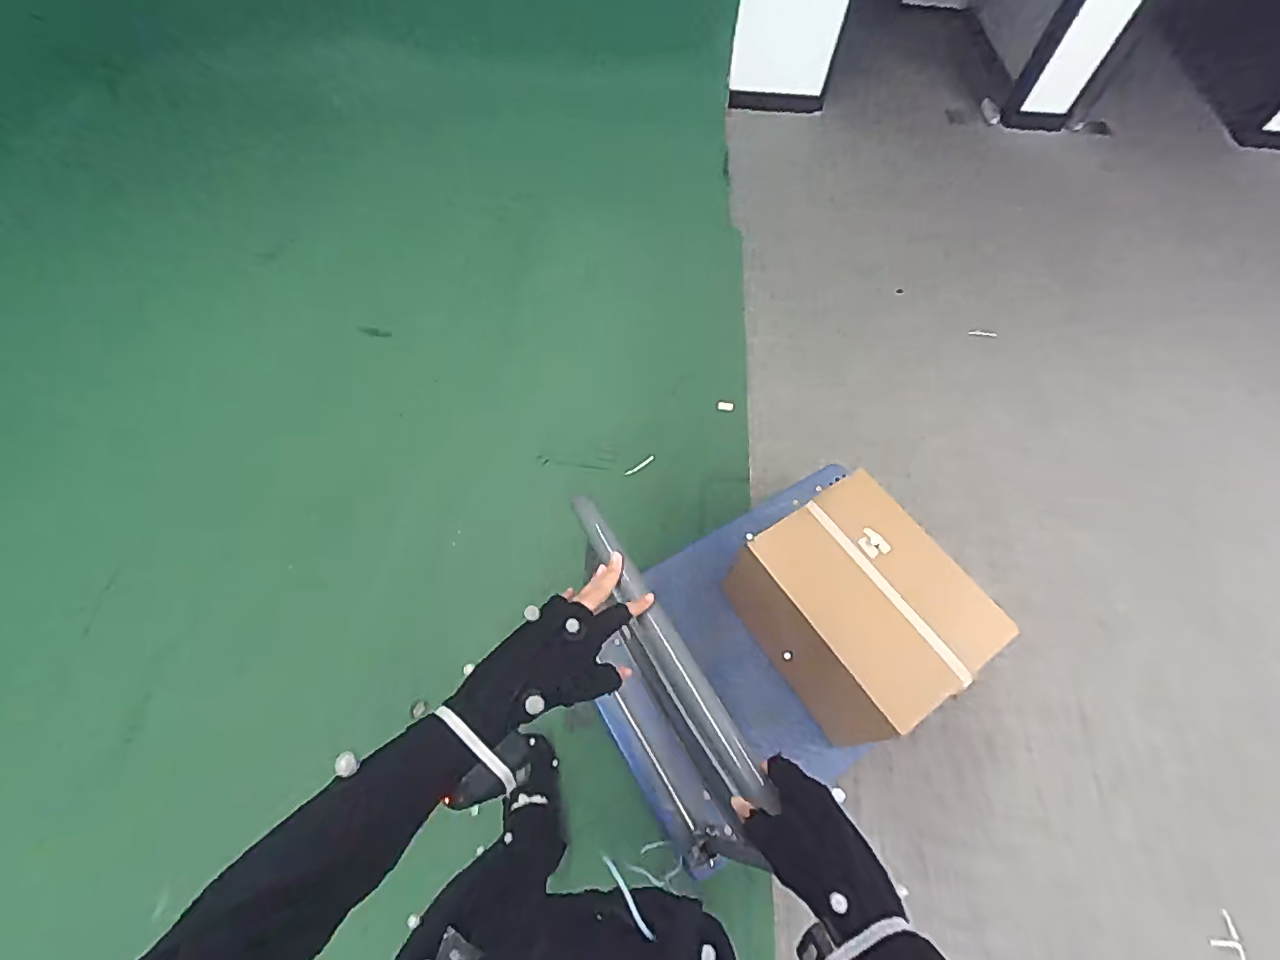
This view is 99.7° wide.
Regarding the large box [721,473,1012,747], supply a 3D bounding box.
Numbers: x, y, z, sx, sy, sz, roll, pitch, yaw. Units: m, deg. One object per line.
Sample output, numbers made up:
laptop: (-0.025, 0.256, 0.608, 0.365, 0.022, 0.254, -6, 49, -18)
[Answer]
large box: (0.425, 0.271, 1.120, 0.320, 0.320, 0.408, -29, 64, -18)
